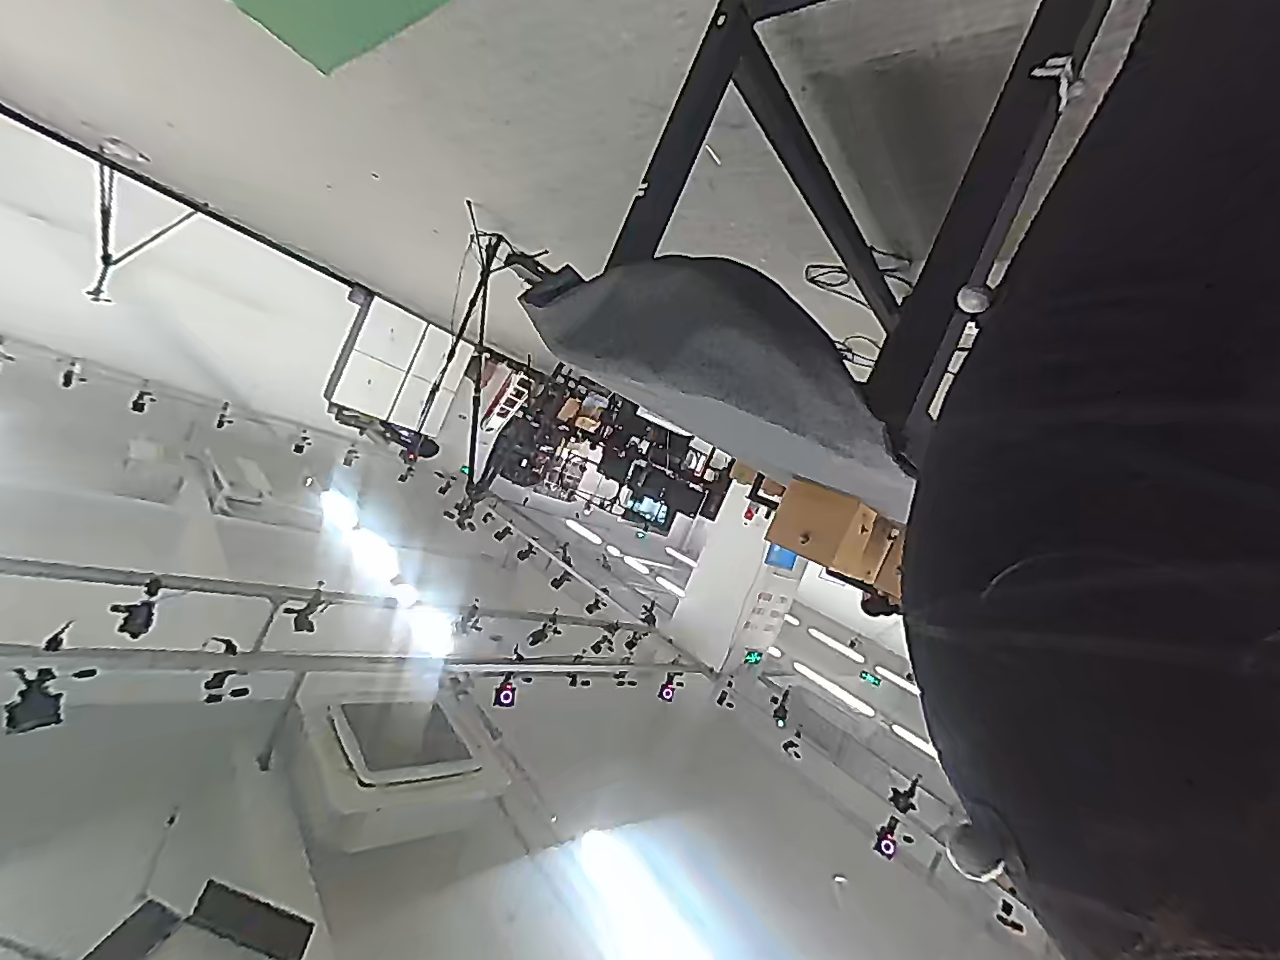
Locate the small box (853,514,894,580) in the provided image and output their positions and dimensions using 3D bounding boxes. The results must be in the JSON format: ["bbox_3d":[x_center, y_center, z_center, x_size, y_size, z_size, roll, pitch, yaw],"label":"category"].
[{"bbox_3d":[0.574,0.156,1.489,0.179,0.176,0.168,25,-178,44],"label":"small box"}]

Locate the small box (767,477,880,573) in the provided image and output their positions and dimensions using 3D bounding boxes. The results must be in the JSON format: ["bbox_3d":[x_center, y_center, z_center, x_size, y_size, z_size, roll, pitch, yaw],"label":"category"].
[{"bbox_3d":[0.442,0.102,1.296,0.179,0.176,0.168,23,-179,41],"label":"small box"}]
